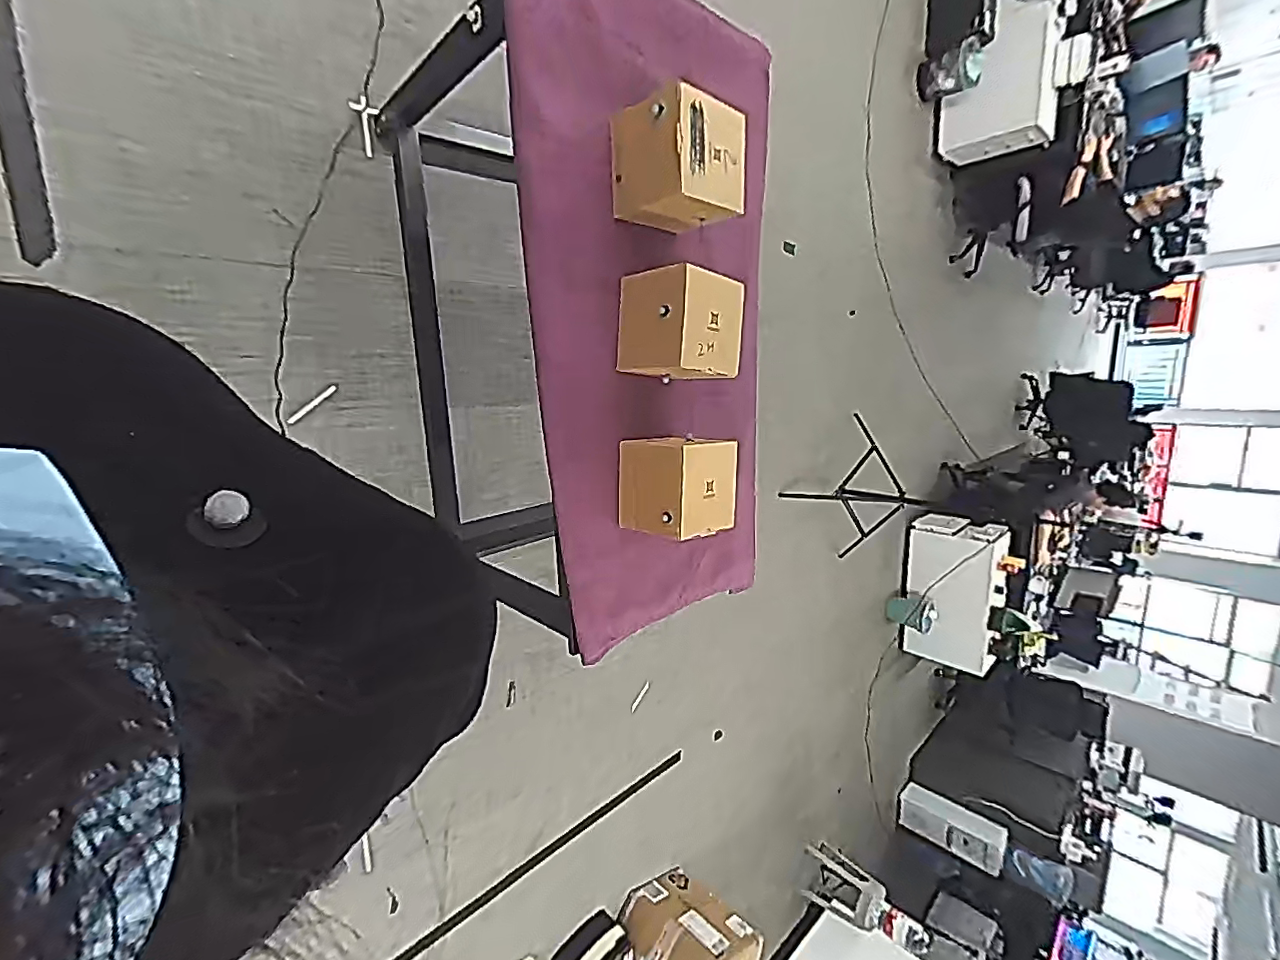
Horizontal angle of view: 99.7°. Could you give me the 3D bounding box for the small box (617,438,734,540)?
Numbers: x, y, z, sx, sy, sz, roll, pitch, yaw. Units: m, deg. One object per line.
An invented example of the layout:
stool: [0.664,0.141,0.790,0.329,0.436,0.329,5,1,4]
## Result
small box: [0.068,0.008,1.070,0.168,0.176,0.179,-8,102,-45]

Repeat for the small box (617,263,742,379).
small box: [0.071,-0.288,1.022,0.168,0.176,0.179,-2,98,-44]
